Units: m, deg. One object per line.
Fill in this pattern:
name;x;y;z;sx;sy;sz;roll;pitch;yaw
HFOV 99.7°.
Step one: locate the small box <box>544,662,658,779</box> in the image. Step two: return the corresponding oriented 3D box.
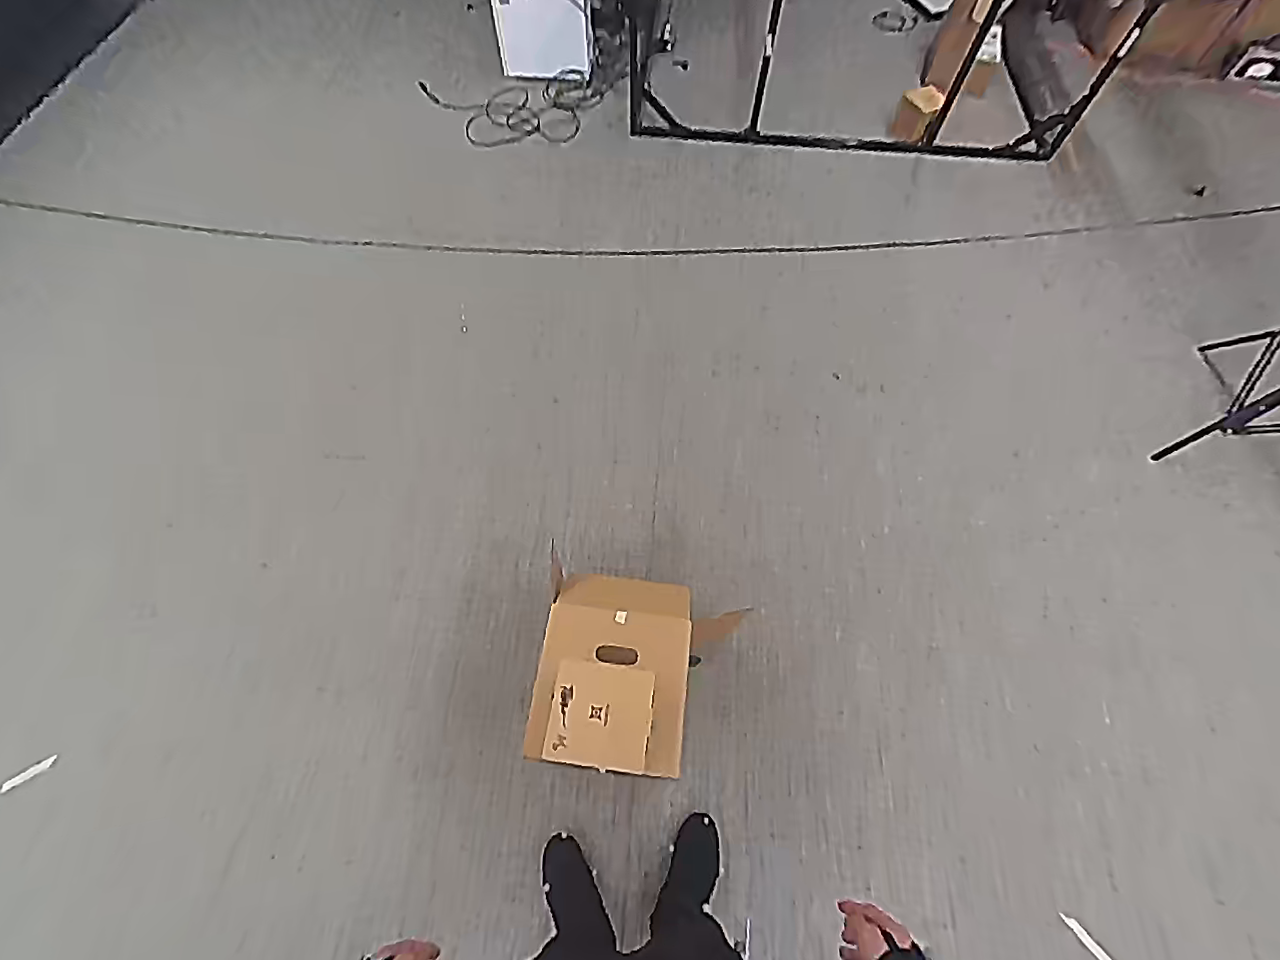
small box;-0.068;0.449;1.013;0.179;0.176;0.168;9;64;3
